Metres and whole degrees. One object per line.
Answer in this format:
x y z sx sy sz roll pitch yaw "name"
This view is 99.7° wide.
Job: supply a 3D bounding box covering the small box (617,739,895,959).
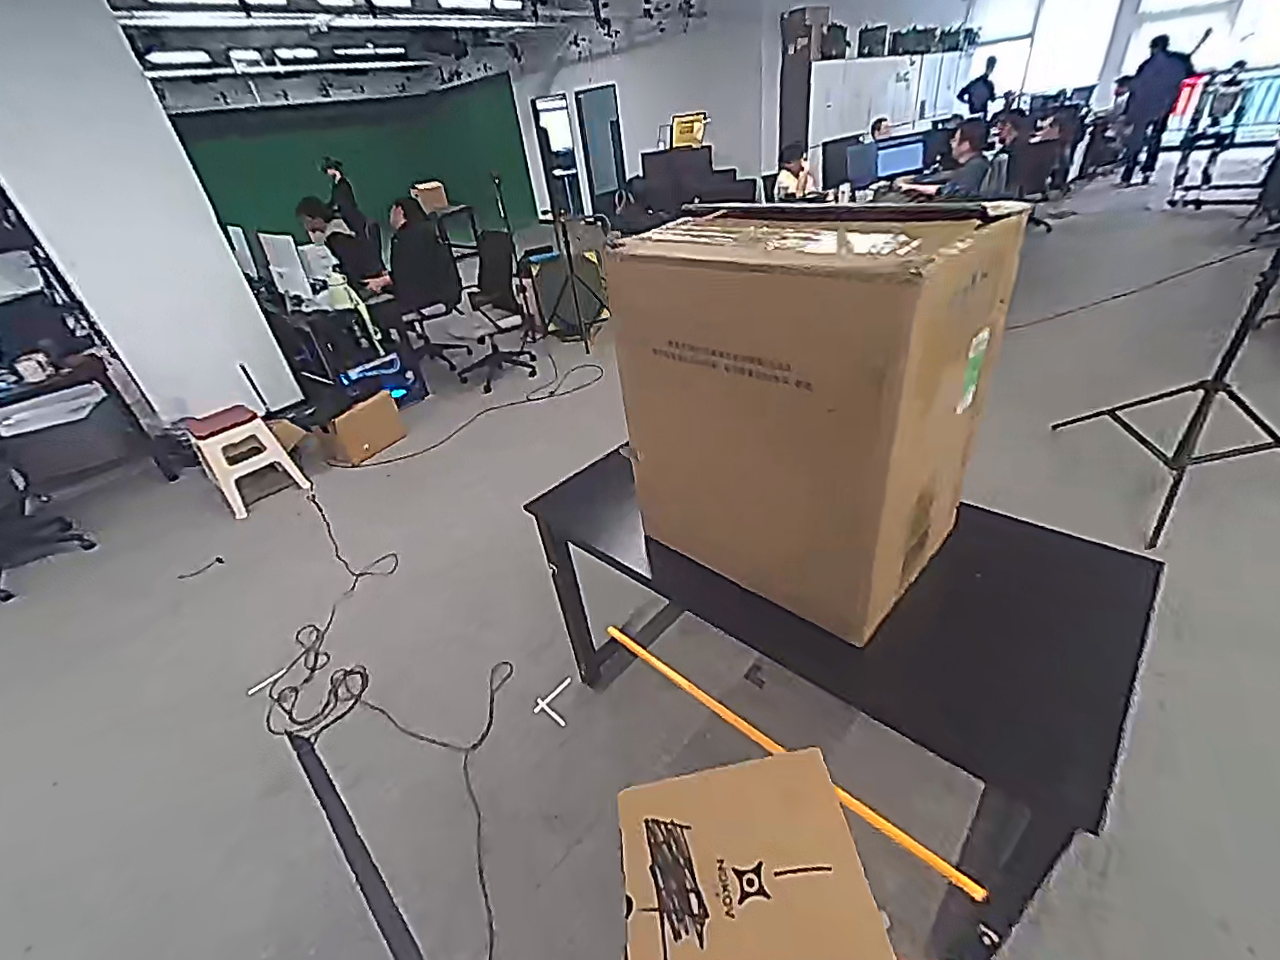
0.089 0.345 0.435 0.179 0.176 0.168 -14 35 4 "small box"
